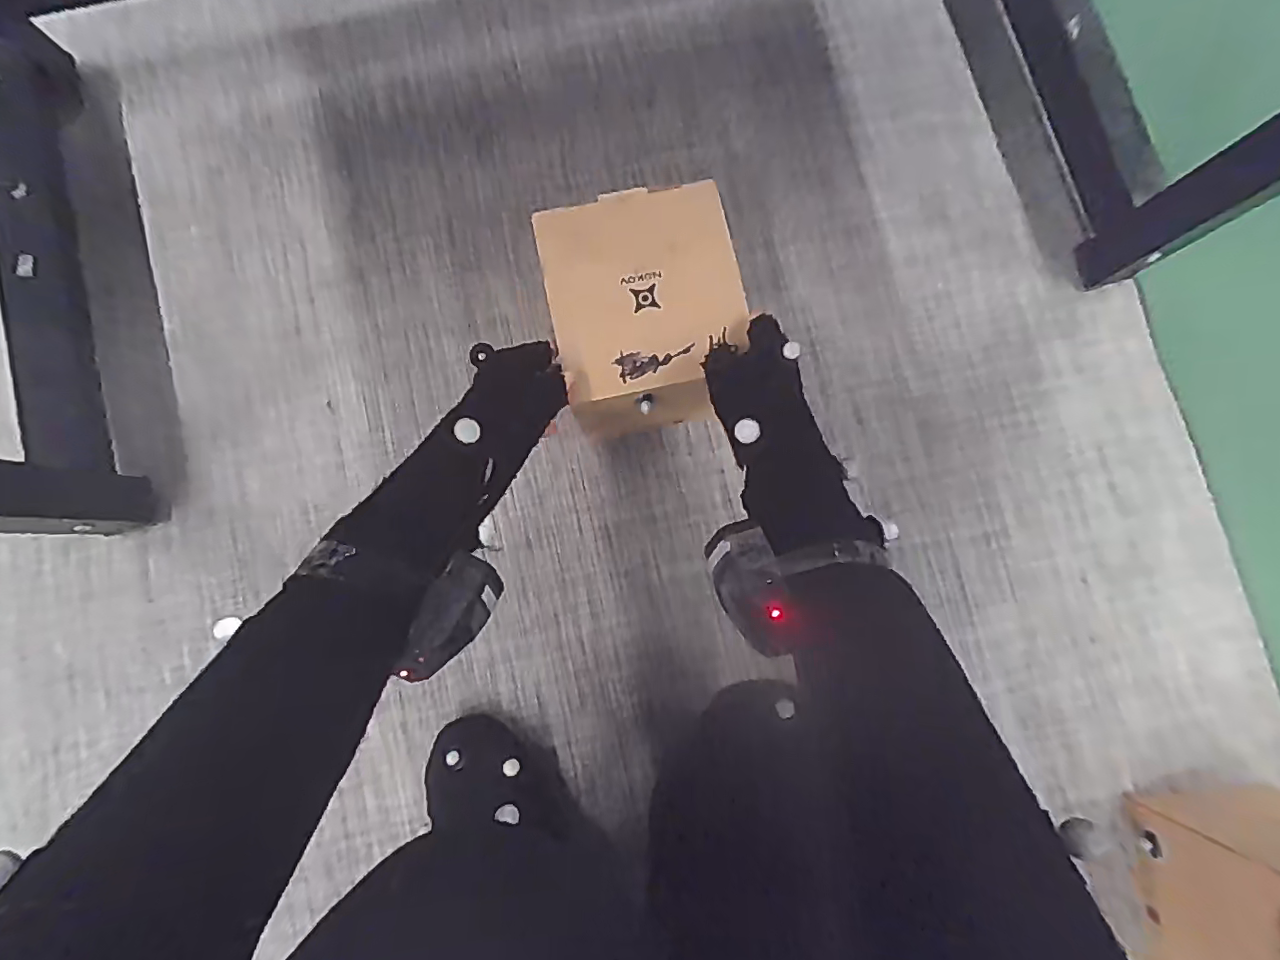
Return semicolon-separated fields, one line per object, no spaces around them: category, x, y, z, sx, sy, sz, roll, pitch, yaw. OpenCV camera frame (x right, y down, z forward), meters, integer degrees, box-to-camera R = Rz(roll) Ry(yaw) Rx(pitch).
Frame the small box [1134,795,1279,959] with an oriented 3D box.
small box;0.592;0.403;0.479;0.179;0.176;0.168;-2;83;-2

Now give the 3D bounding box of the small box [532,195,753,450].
small box;-0.001;-0.142;0.542;0.168;0.176;0.179;-12;82;-2
